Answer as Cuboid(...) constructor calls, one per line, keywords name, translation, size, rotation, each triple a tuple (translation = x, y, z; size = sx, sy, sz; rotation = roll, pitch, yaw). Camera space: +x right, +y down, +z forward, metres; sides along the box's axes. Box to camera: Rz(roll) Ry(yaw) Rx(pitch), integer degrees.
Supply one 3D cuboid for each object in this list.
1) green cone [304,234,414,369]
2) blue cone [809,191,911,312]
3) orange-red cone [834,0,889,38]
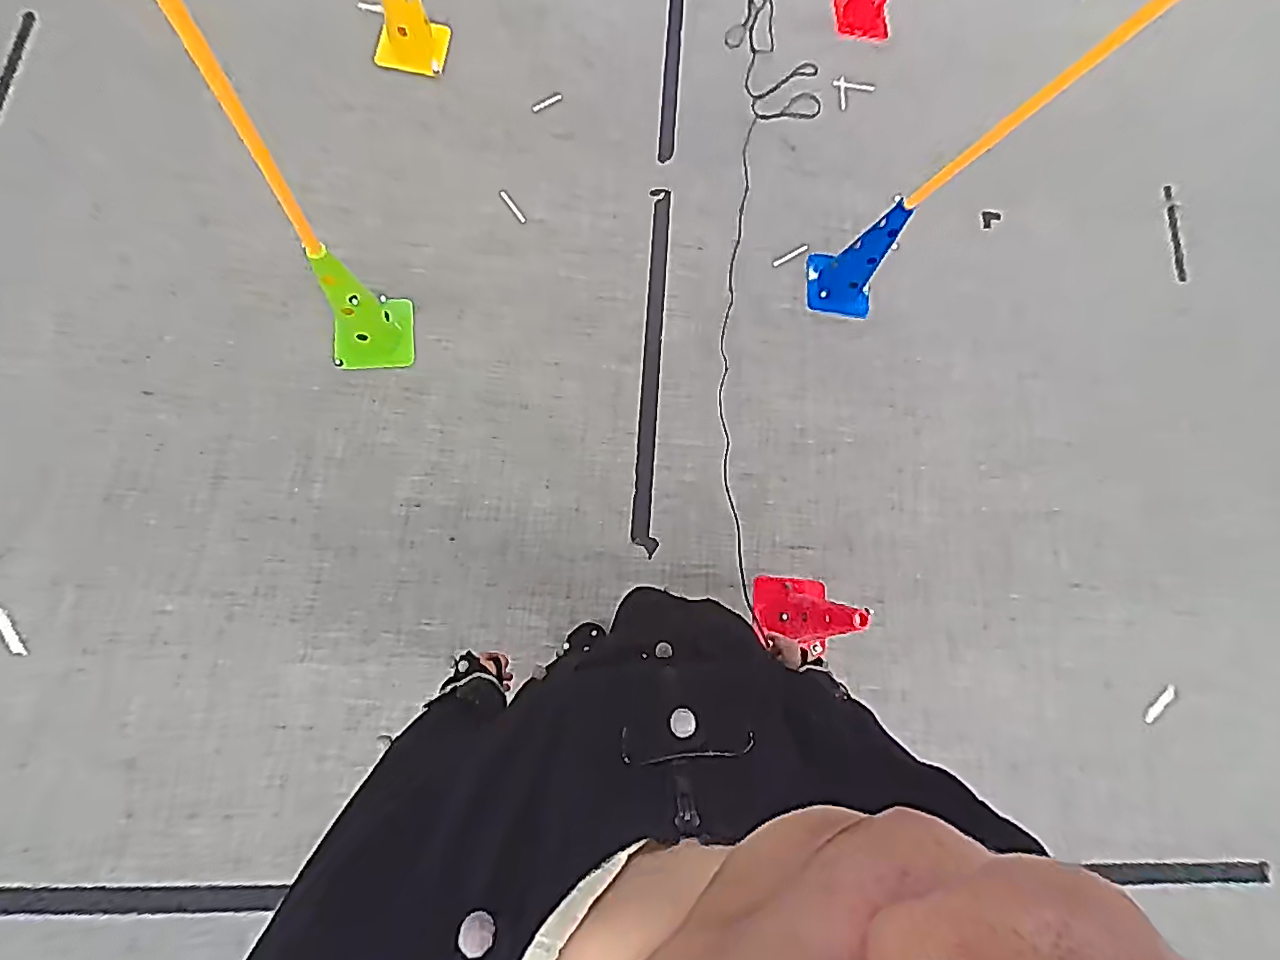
Cuboid(name="green cone", translation=(-0.687, -0.437, 1.279), size=(0.200, 0.368, 0.202), rotation=(-5, 76, -9))
Cuboid(name="blue cone", translation=(0.638, -0.654, 1.525), size=(0.193, 0.380, 0.192), rotation=(8, 75, -6))
Cuboid(name="orange-red cone", translation=(0.818, -1.718, 1.788), size=(0.199, 0.360, 0.198), rotation=(0, 76, -7))
